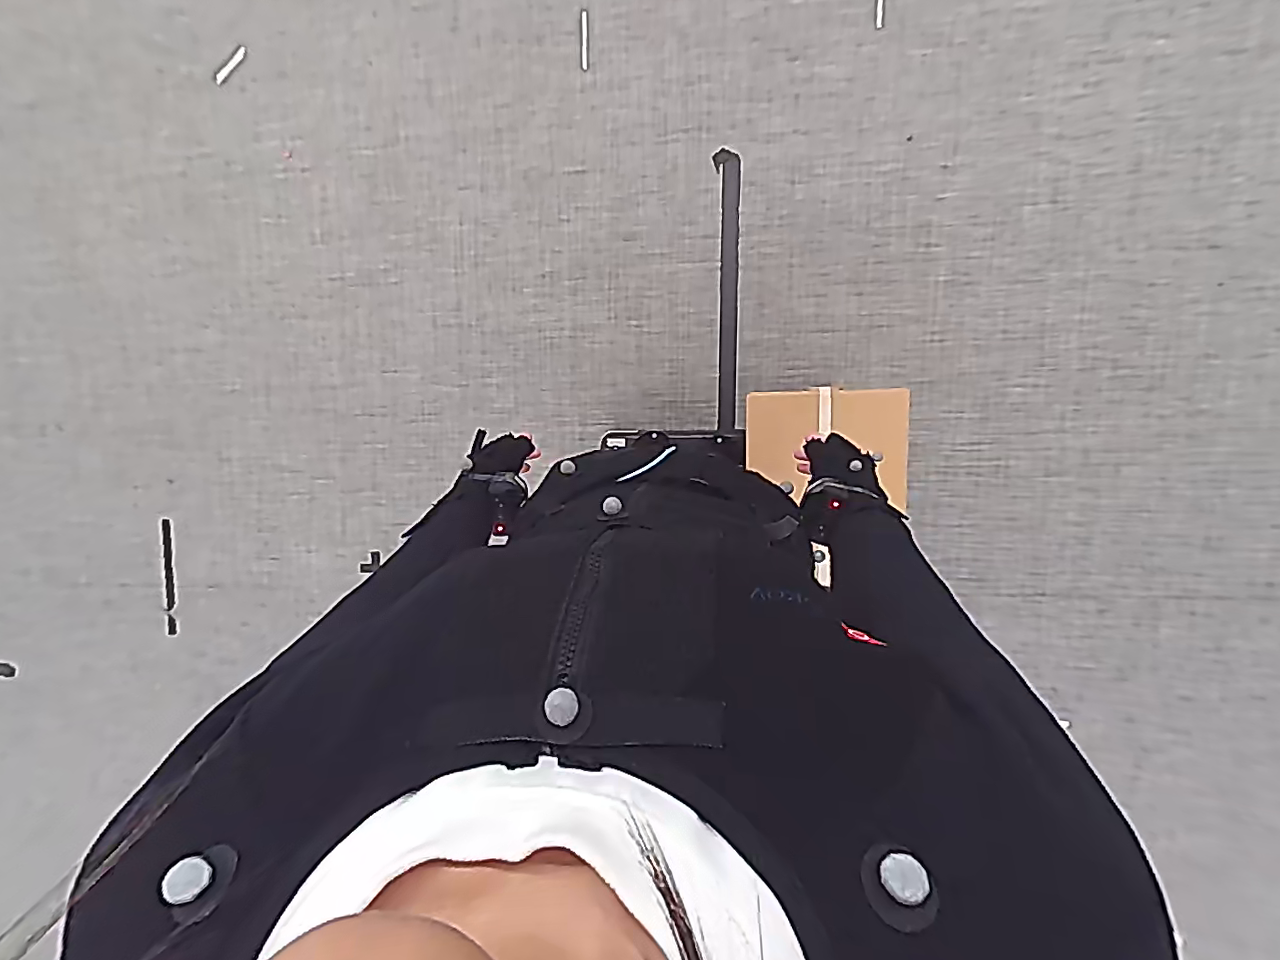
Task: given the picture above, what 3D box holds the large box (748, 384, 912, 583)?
[{"bbox_3d":[0.413,-0.007,1.244,0.320,0.320,0.408,0,97,13],"label":"large box"}]
